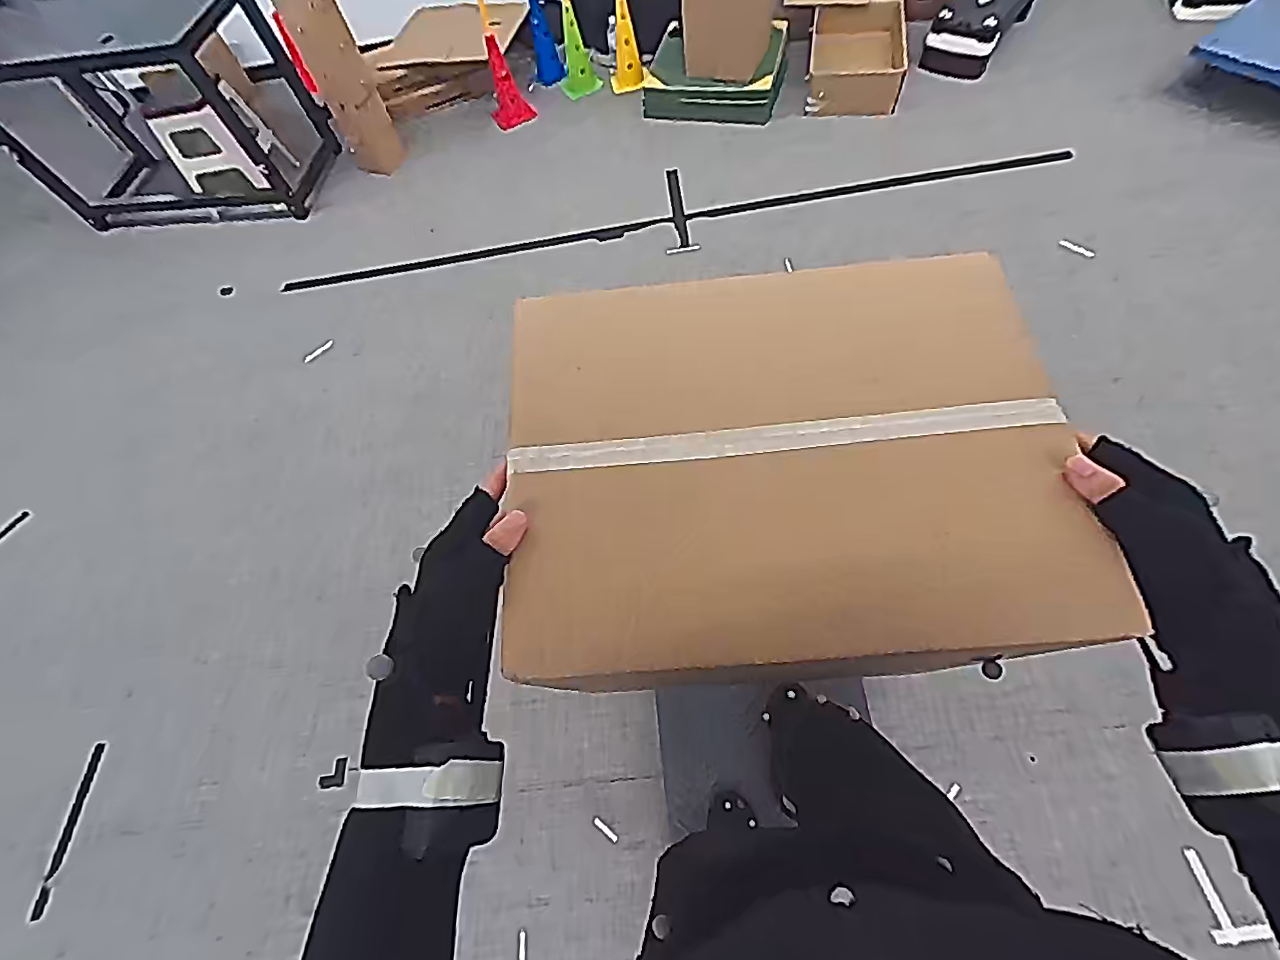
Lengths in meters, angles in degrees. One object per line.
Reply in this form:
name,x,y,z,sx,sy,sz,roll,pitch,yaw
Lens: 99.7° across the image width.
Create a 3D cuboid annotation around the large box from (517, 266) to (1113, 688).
large box,0.115,0.032,0.552,0.408,0.320,0.320,-5,66,3
